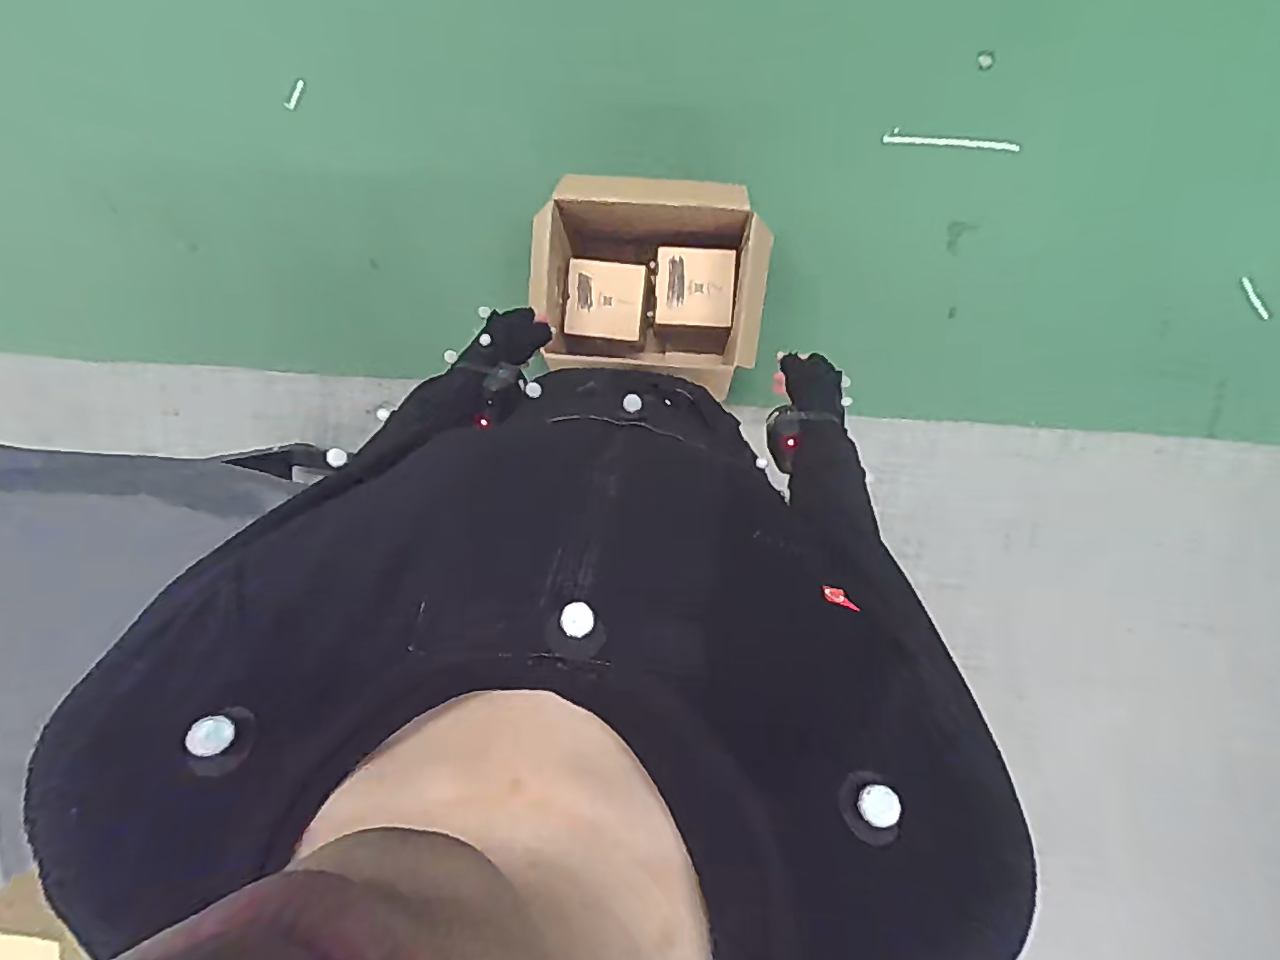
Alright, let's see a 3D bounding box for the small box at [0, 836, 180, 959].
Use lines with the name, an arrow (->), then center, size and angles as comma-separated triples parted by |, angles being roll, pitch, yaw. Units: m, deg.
small box -> -0.870, 0.697, 0.842 | 0.168, 0.176, 0.179 | 4, 101, 4
